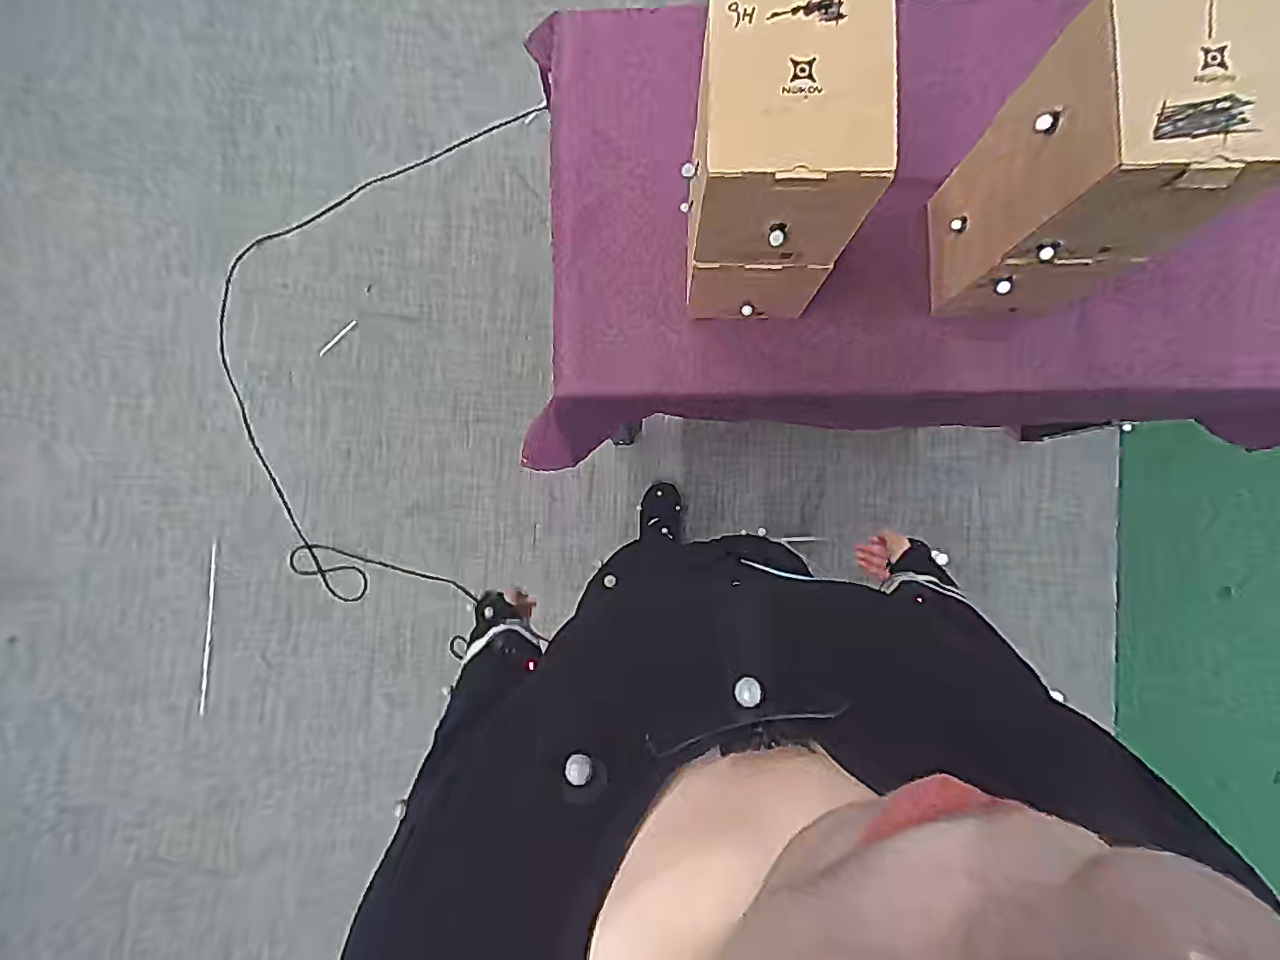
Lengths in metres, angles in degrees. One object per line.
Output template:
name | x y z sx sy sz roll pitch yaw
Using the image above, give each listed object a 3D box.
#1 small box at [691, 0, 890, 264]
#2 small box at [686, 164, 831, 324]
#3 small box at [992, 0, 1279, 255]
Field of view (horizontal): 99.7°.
small box | 0.141 -0.340 0.557 0.168 0.176 0.179 1 86 2
small box | 0.148 -0.325 0.721 0.168 0.176 0.179 1 86 3
small box | 0.488 -0.345 0.544 0.168 0.176 0.179 0 84 2
